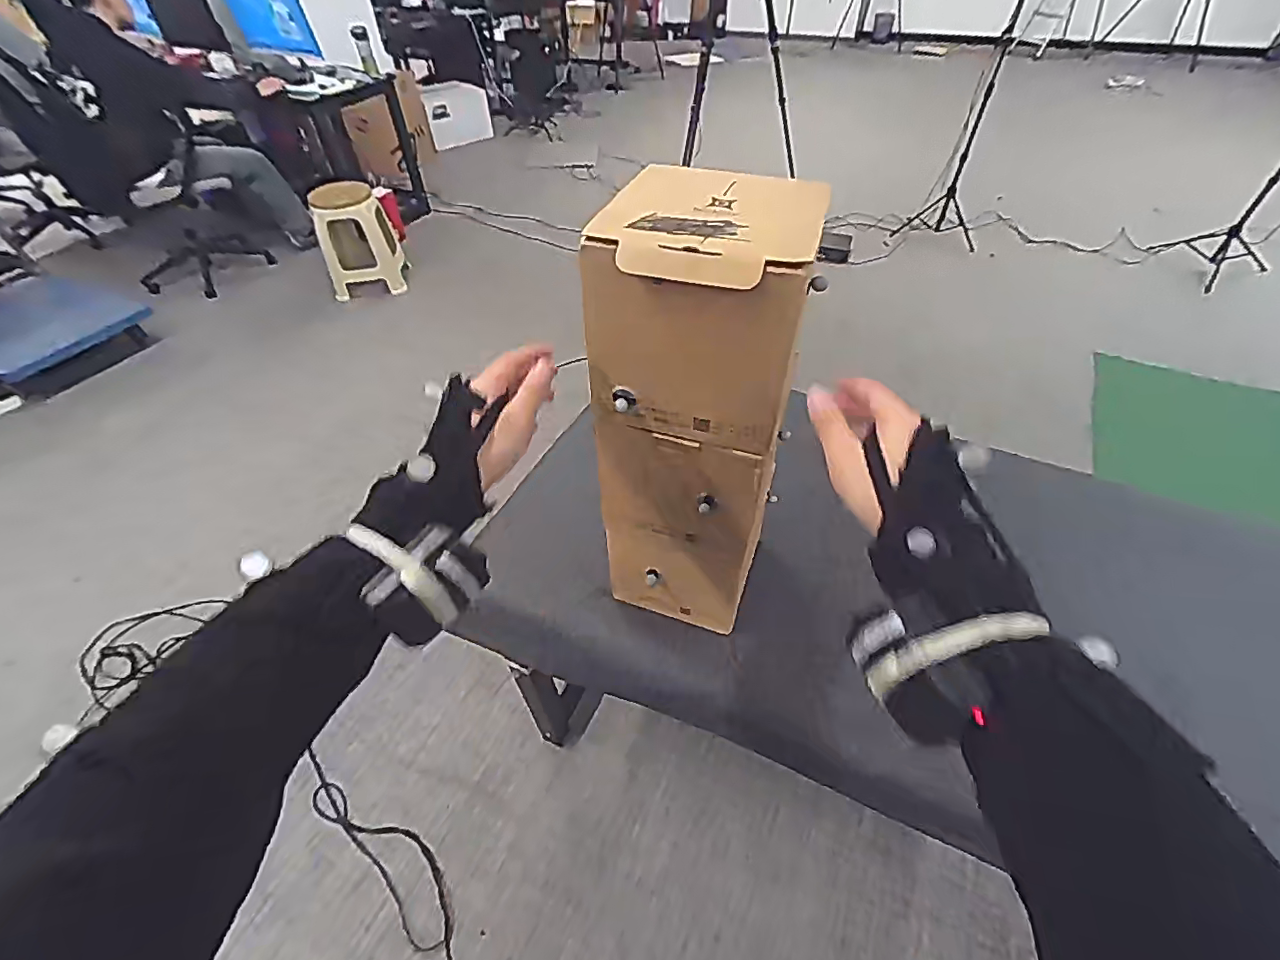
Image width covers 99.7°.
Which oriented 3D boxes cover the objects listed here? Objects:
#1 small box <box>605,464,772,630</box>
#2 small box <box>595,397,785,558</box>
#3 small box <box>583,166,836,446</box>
[{"bbox_3d":[0.066,0.070,0.719,0.168,0.176,0.179,15,48,15],"label":"small box"},{"bbox_3d":[0.062,-0.041,0.600,0.168,0.176,0.179,15,47,13],"label":"small box"},{"bbox_3d":[0.063,-0.155,0.481,0.168,0.176,0.179,14,47,12],"label":"small box"}]
